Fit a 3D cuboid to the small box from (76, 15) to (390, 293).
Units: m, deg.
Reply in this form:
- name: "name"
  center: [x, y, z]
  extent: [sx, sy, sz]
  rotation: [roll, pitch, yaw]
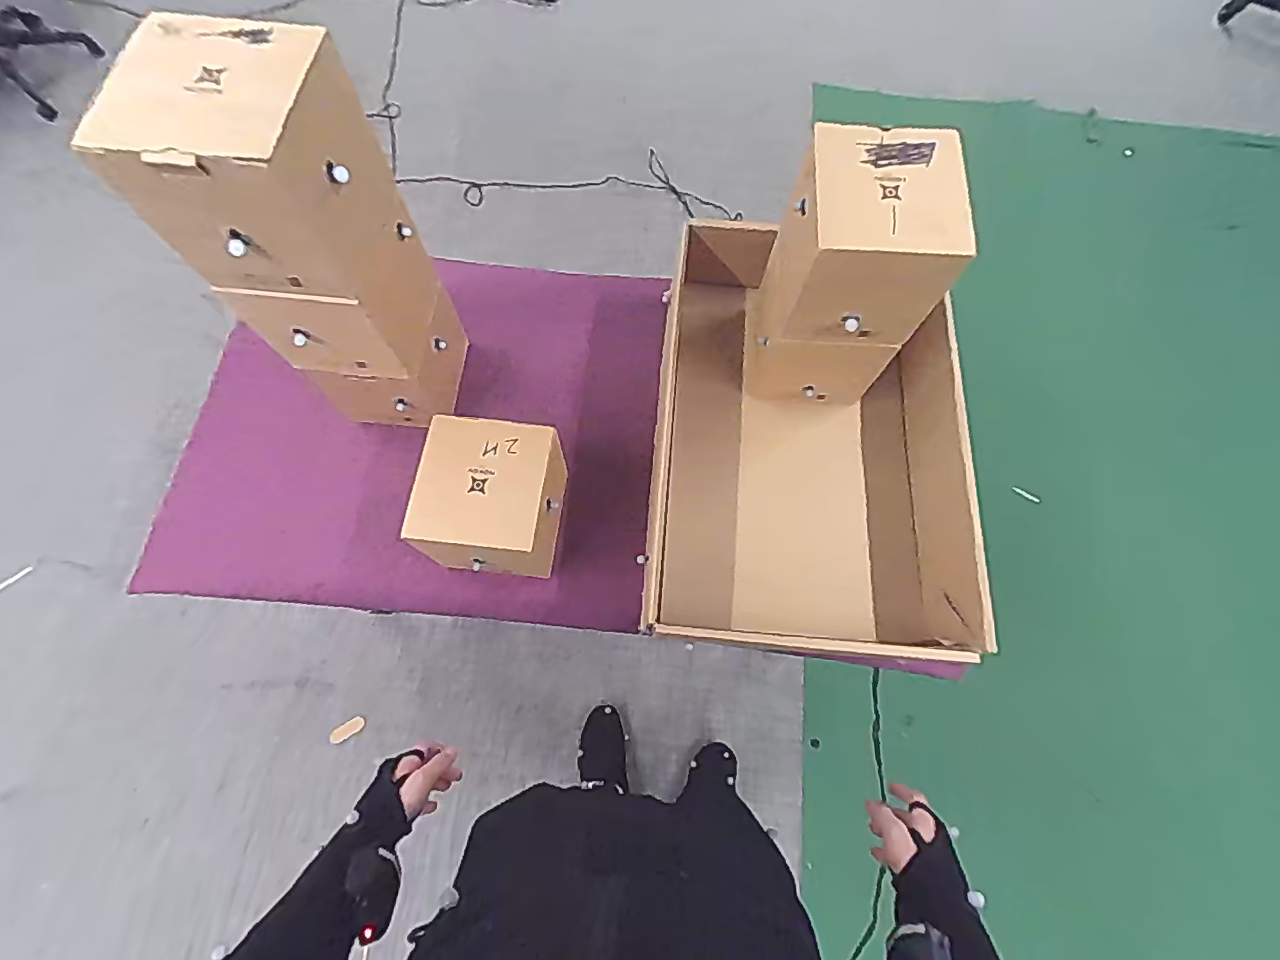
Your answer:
- name: "small box"
  center: [-0.377, -0.313, 0.545]
  extent: [0.168, 0.176, 0.179]
  rotation: [5, 71, -1]

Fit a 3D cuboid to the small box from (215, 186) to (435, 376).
- name: "small box"
  center: [-0.383, -0.253, 0.698]
  extent: [0.168, 0.176, 0.179]
  rotation: [5, 70, 0]

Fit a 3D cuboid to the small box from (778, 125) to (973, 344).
- name: "small box"
  center: [0.270, -0.292, 0.664]
  extent: [0.168, 0.176, 0.179]
  rotation: [3, 72, 2]

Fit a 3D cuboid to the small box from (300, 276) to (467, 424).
- name: "small box"
  center: [-0.386, -0.202, 0.851]
  extent: [0.168, 0.176, 0.179]
  rotation: [6, 70, 0]

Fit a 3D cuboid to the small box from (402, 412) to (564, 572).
- name: "small box"
  center: [-0.206, 0.026, 0.768]
  extent: [0.168, 0.176, 0.179]
  rotation: [7, 69, 1]
